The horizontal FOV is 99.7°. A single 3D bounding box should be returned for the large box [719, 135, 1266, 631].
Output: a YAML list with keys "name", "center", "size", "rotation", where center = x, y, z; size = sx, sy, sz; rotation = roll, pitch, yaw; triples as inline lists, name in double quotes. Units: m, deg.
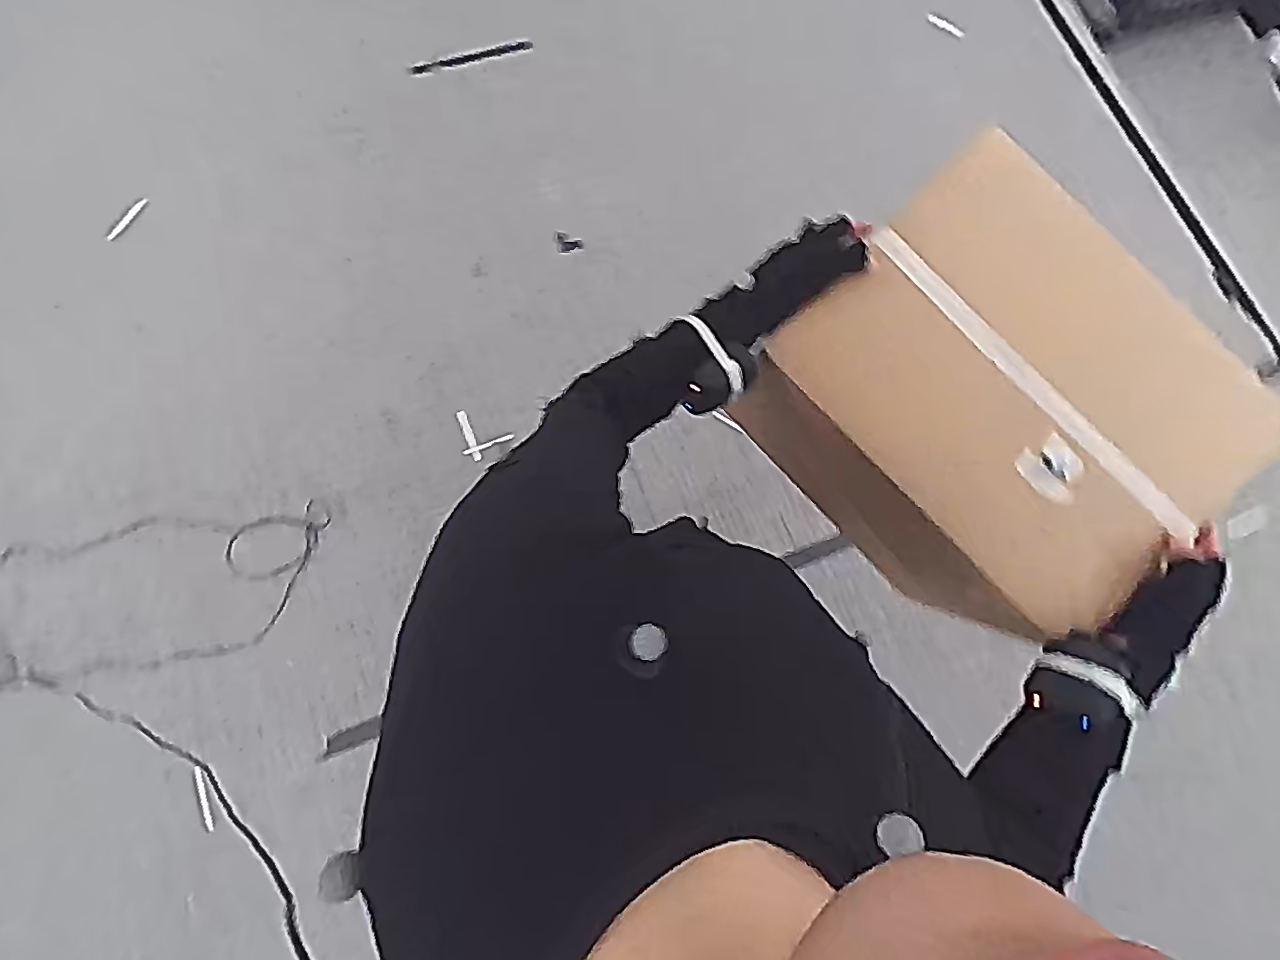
- name: "large box"
  center: [0.362, -0.094, 0.672]
  size: [0.320, 0.320, 0.408]
  rotation: [-44, 89, 0]
